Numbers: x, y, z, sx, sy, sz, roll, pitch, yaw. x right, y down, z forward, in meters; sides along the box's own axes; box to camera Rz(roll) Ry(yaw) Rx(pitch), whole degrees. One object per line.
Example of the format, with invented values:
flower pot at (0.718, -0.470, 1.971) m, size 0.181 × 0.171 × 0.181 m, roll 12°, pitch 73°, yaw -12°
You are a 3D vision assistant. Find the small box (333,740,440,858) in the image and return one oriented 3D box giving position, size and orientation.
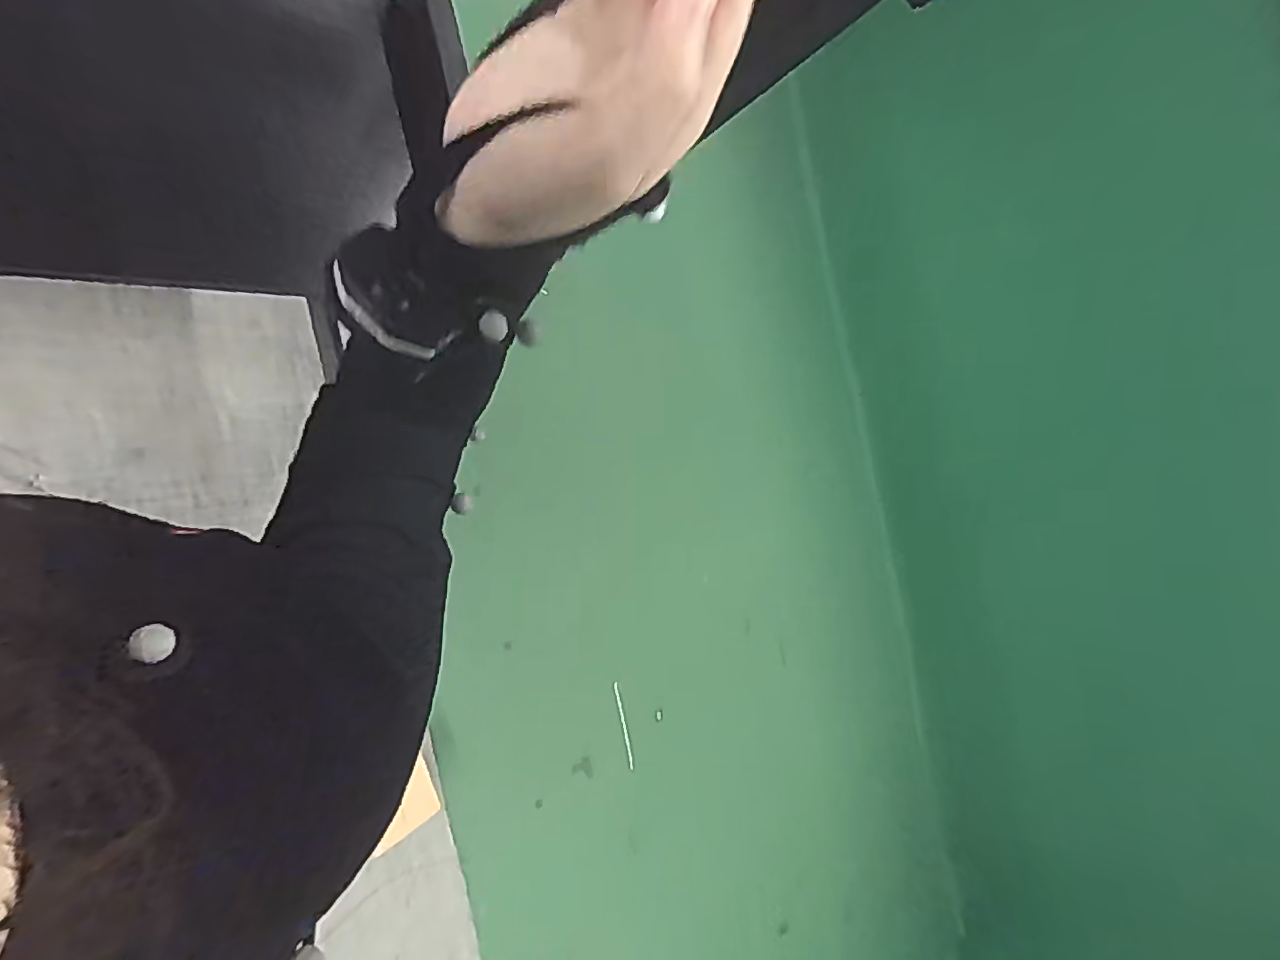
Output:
small box at (-0.620, 0.760, 1.315) m, size 0.168 × 0.176 × 0.179 m, roll -21°, pitch 98°, yaw -43°
